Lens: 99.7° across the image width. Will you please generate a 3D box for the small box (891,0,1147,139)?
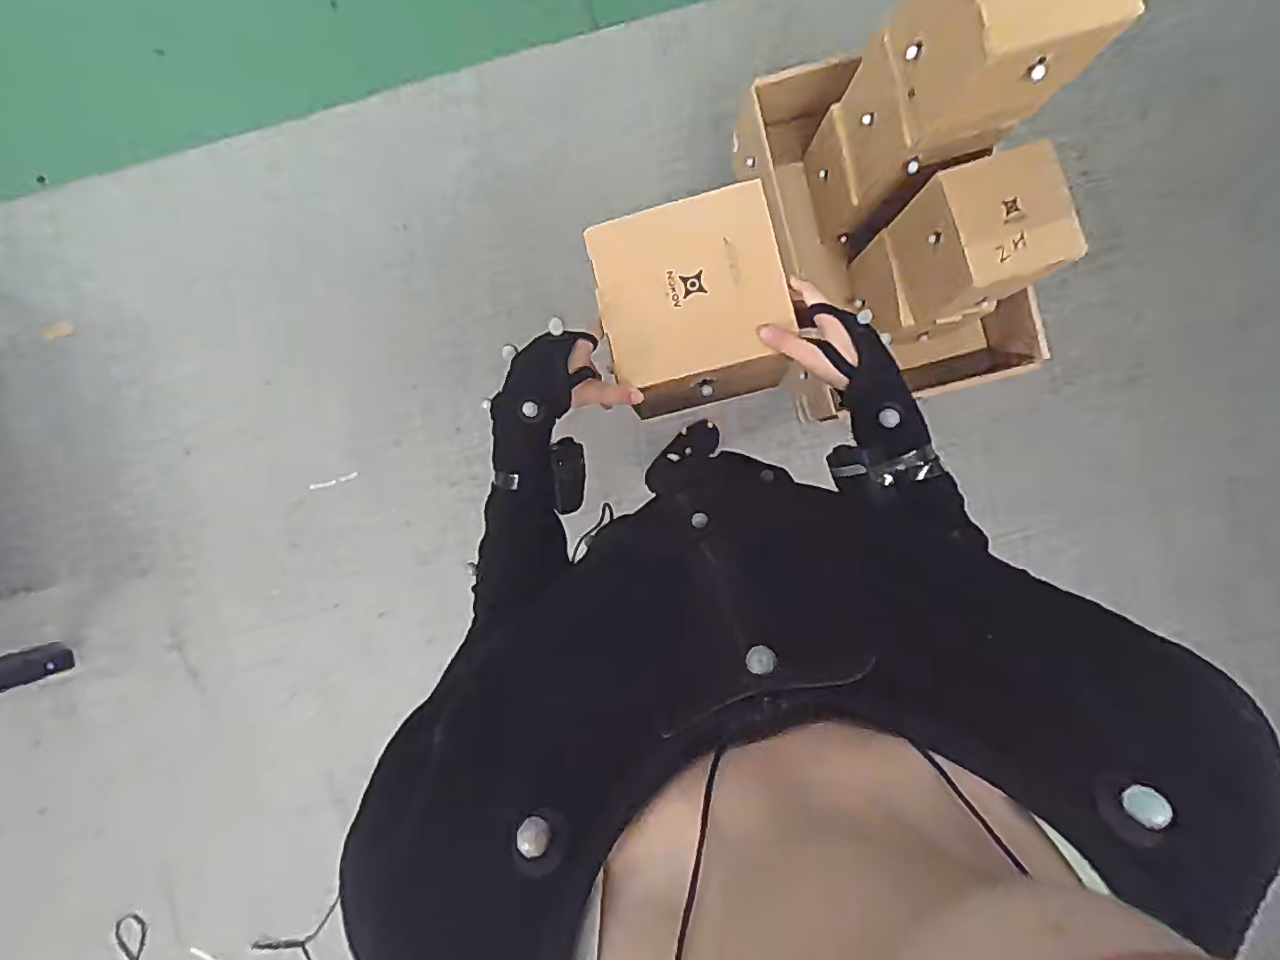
[{"bbox_3d":[0.445,-0.564,0.662,0.179,0.176,0.168,-16,91,2],"label":"small box"}]
